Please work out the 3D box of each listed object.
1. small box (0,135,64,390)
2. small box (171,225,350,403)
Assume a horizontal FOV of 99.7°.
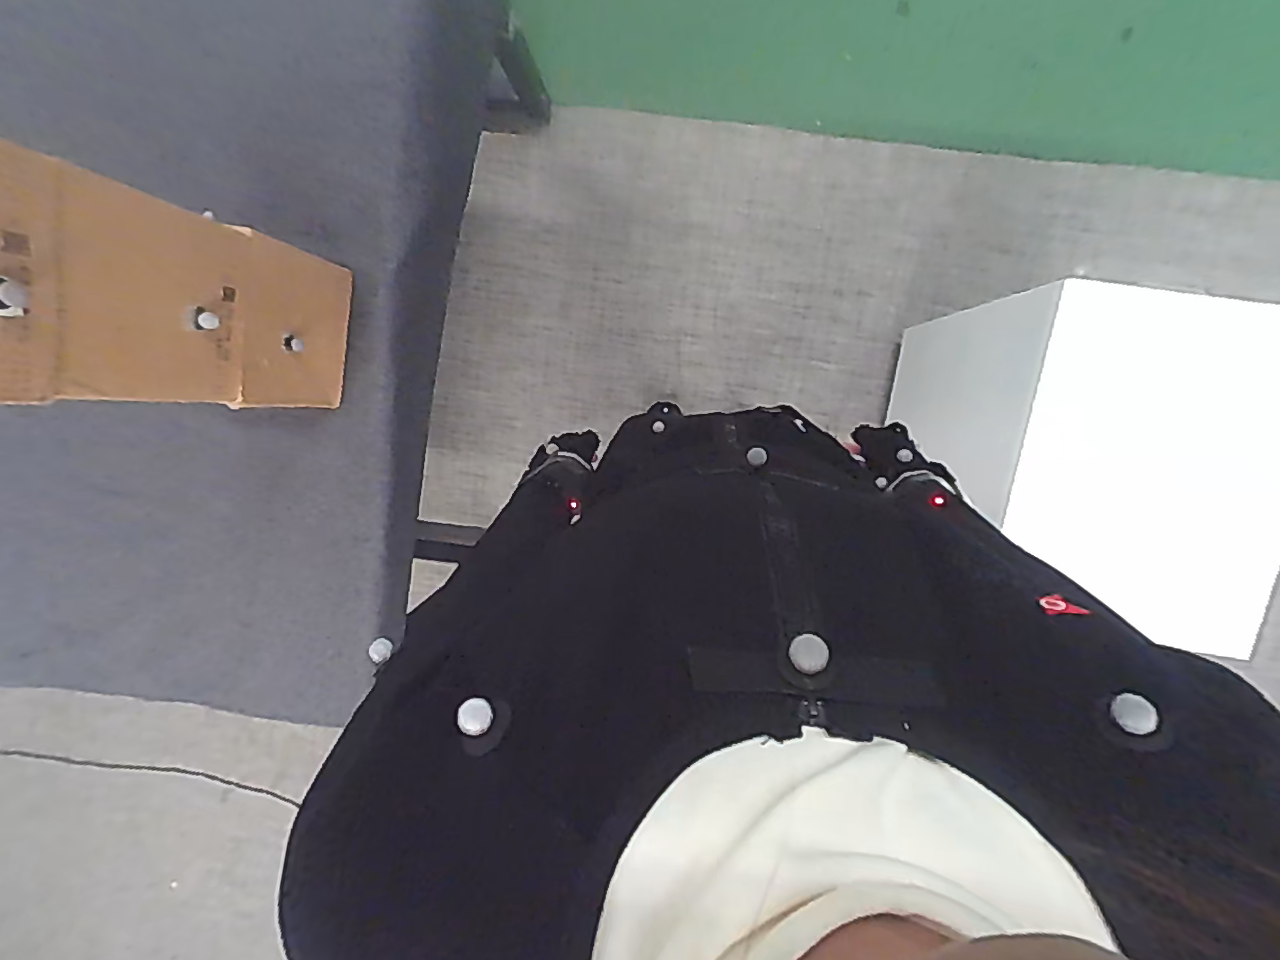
[{"bbox_3d":[-0.495,-0.142,0.304,0.179,0.176,0.168,9,100,3],"label":"small box"},{"bbox_3d":[-0.464,-0.190,0.624,0.168,0.176,0.179,11,99,3],"label":"small box"}]
